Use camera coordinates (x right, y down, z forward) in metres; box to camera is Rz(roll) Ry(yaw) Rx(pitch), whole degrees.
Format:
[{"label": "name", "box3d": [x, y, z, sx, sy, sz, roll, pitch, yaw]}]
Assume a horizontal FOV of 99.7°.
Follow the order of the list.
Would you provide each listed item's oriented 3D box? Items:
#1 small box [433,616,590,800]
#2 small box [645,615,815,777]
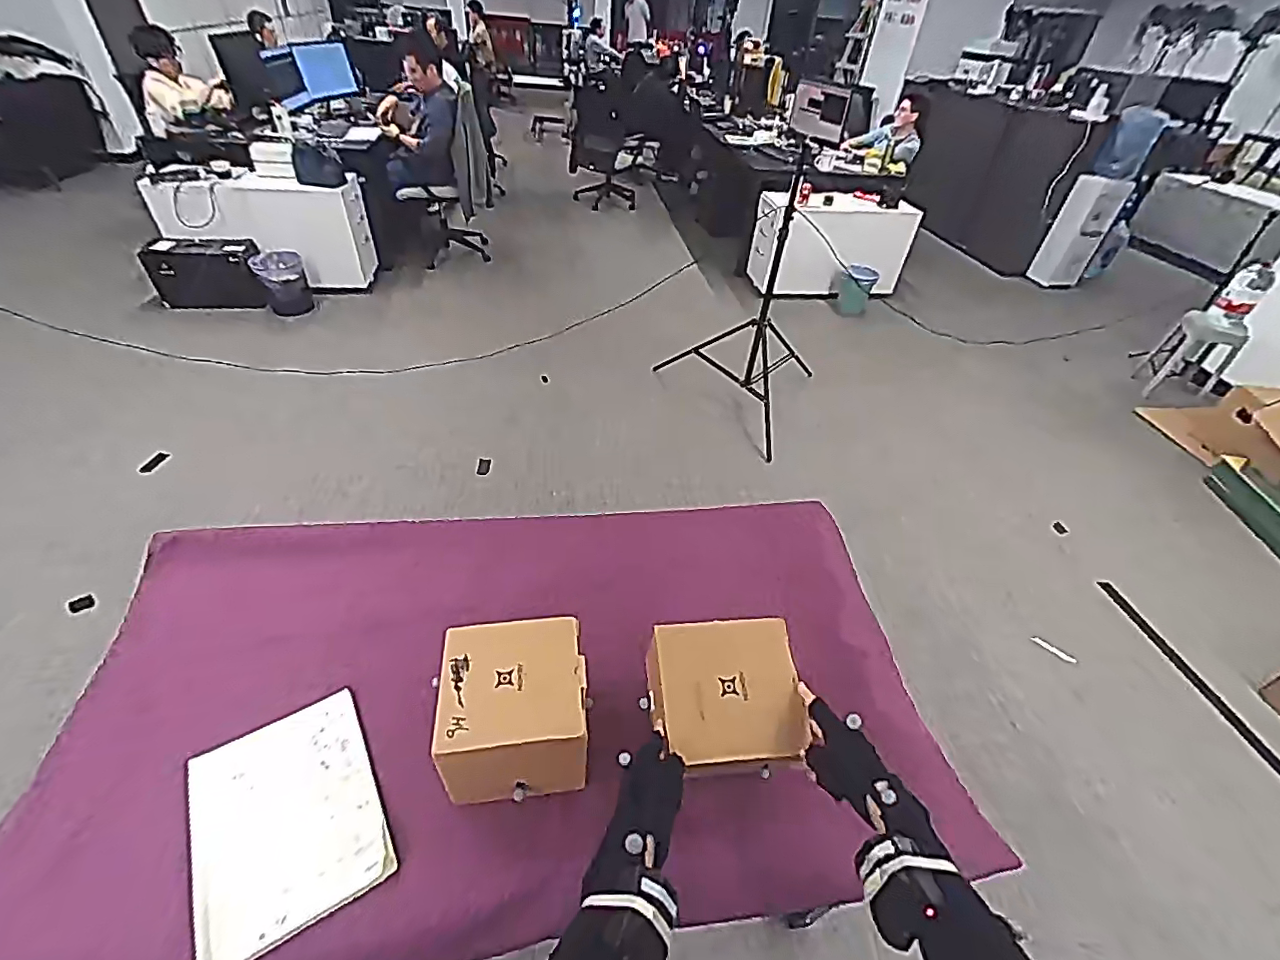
[{"label": "small box", "box3d": [-0.164, 0.303, 0.724, 0.179, 0.176, 0.168, -2, 41, -10]}, {"label": "small box", "box3d": [0.106, 0.292, 0.726, 0.179, 0.176, 0.168, -3, 56, -6]}]
